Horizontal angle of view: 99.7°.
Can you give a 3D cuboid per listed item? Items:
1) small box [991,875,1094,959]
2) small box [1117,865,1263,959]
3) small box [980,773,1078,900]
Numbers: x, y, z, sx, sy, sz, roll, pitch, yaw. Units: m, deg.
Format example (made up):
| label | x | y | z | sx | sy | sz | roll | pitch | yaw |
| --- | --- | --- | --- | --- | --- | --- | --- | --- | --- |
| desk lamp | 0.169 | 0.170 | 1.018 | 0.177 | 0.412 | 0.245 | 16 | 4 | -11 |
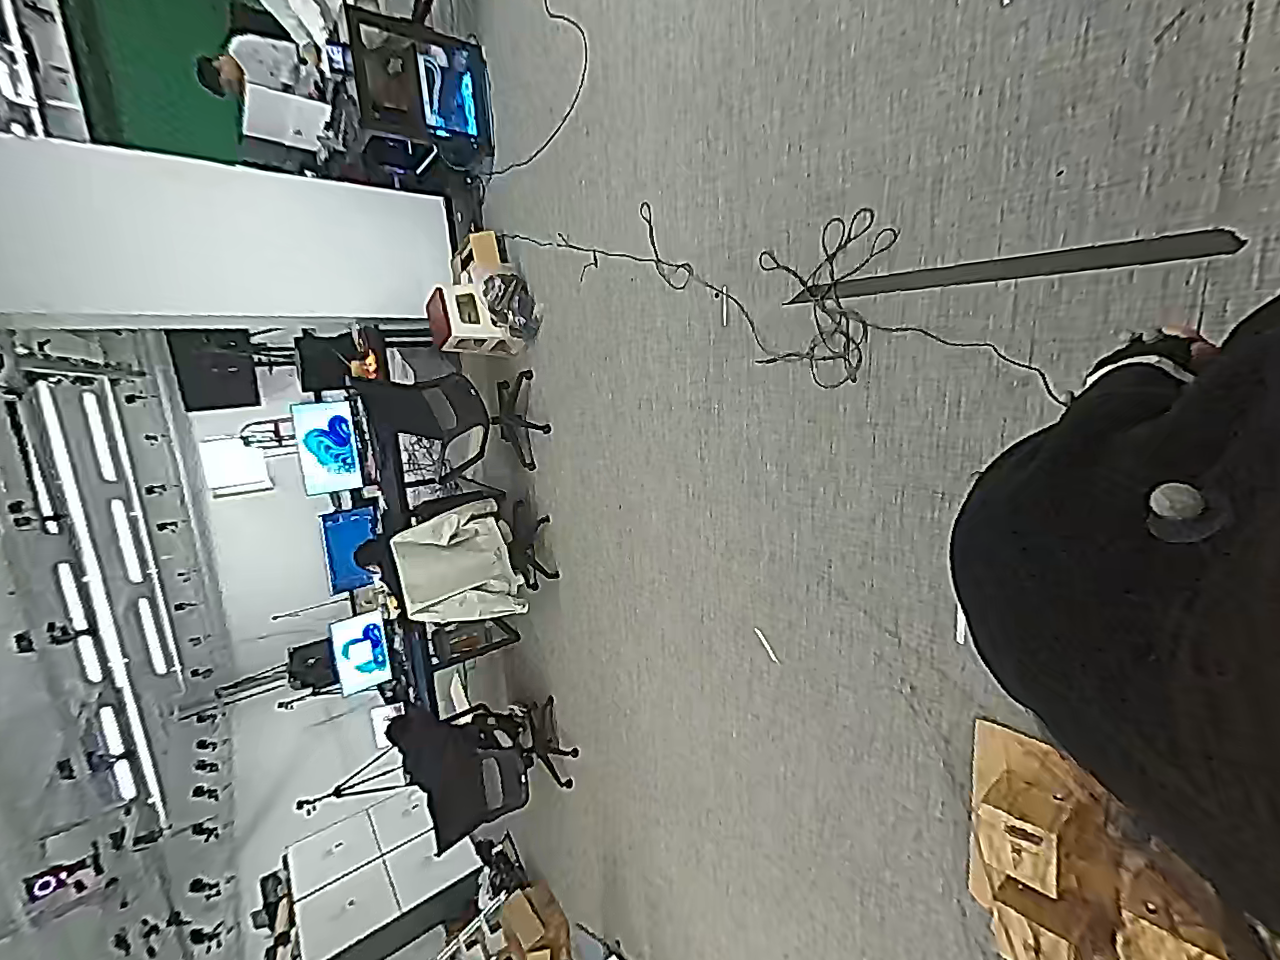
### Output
| label | x | y | z | sx | sy | sz | roll | pitch | yaw |
| --- | --- | --- | --- | --- | --- | --- | --- | --- | --- |
| small box | 1.036 | 1.149 | 1.393 | 0.179 | 0.176 | 0.168 | 3 | 103 | 53 |
| small box | 1.042 | 0.889 | 1.027 | 0.179 | 0.176 | 0.168 | 6 | 105 | 52 |
| small box | 0.990 | 0.893 | 1.377 | 0.168 | 0.176 | 0.179 | 5 | 104 | 53 |
